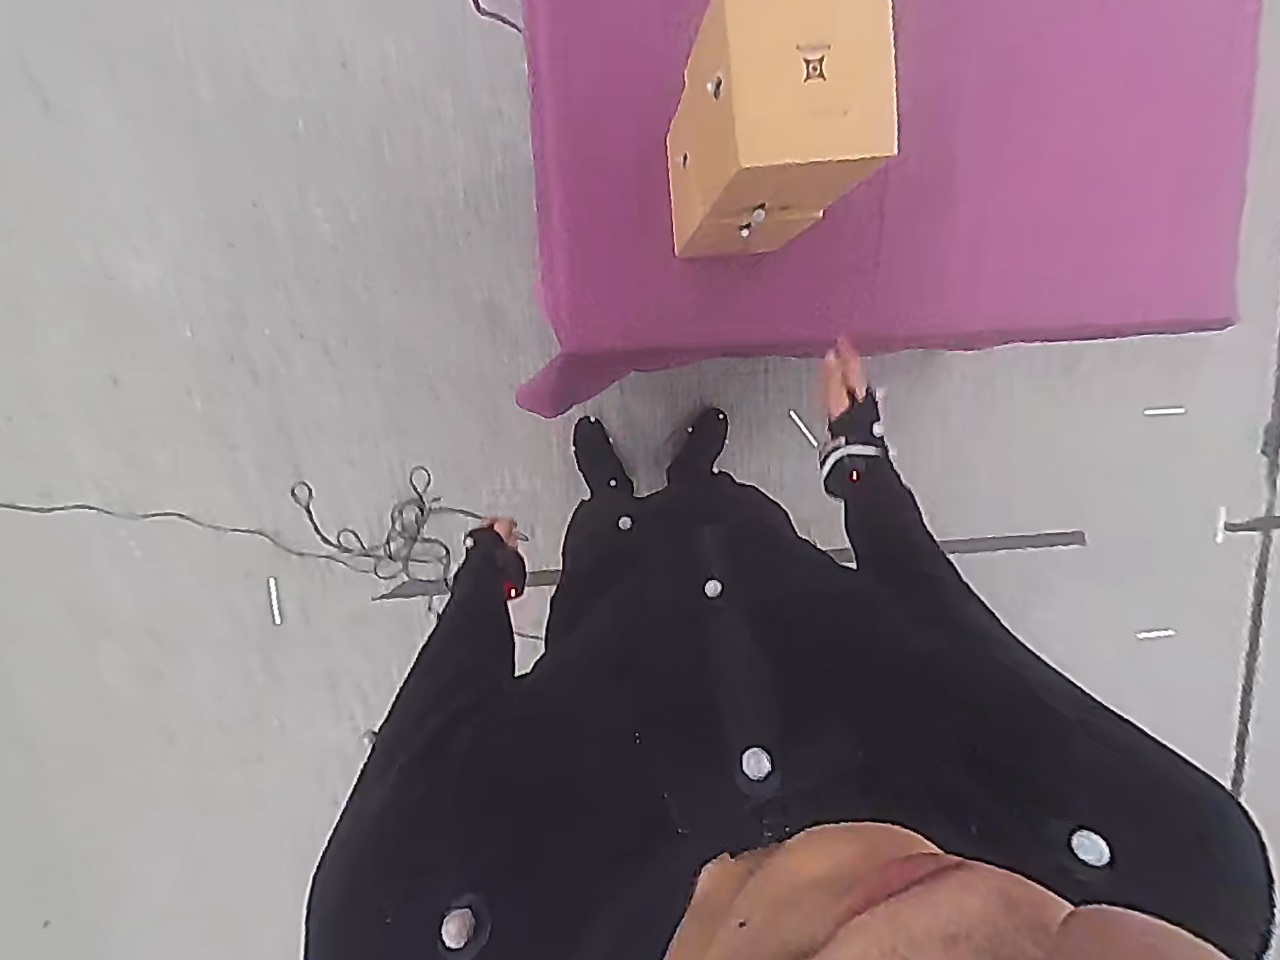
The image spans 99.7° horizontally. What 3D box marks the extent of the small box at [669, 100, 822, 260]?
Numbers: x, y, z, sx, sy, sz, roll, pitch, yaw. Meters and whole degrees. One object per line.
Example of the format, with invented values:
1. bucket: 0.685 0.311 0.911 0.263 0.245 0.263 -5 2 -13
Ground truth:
1. small box: 0.139 -0.426 0.760 0.168 0.176 0.179 -6 98 -6

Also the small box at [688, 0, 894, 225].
1. small box: 0.154 -0.406 0.598 0.168 0.176 0.179 -8 99 -6
